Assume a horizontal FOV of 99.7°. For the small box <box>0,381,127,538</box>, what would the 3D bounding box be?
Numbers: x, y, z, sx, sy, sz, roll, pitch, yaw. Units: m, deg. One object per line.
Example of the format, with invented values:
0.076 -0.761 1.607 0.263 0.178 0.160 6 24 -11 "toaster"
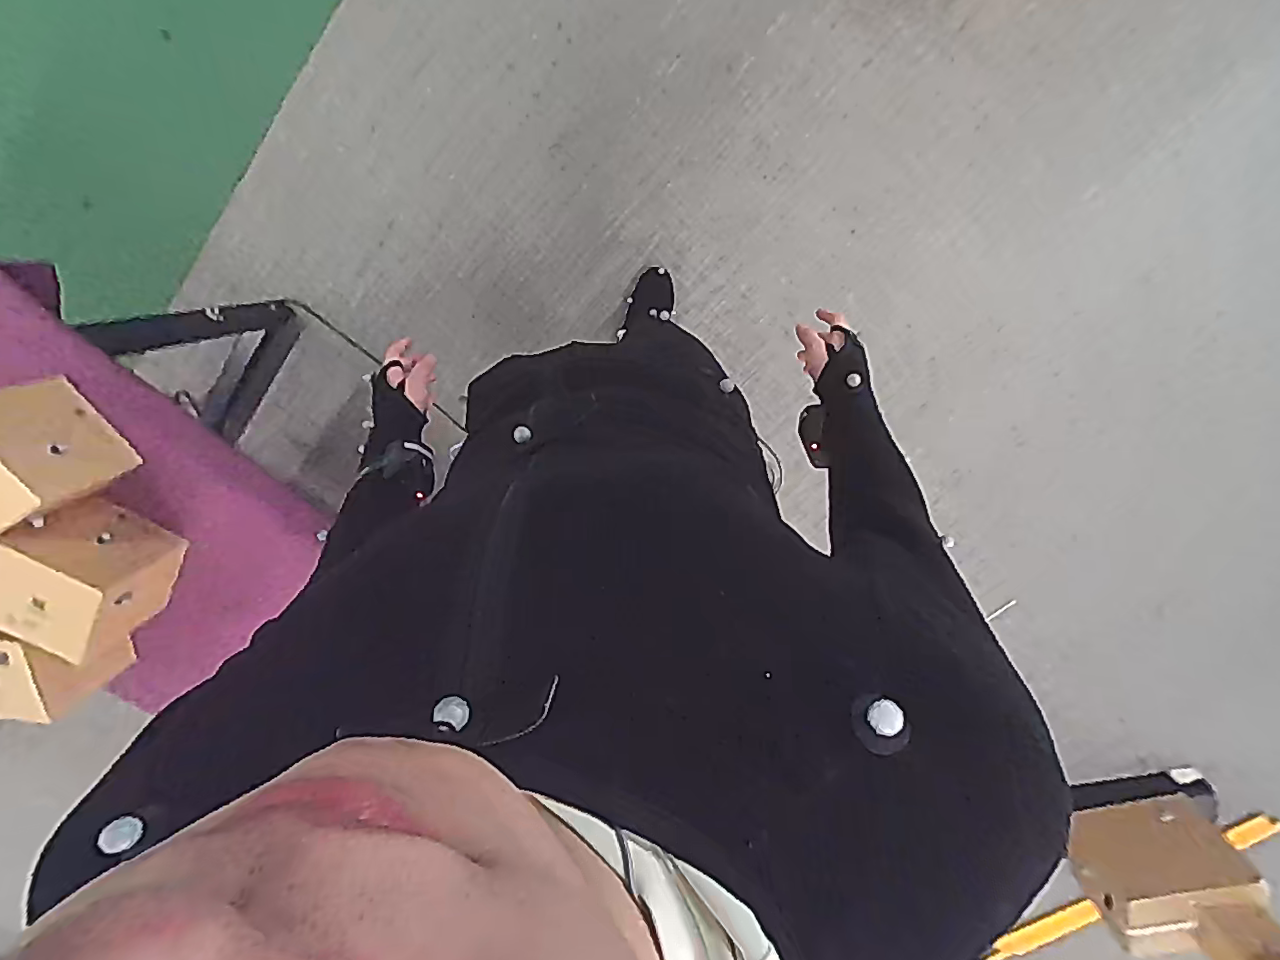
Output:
-0.952 -0.029 0.822 0.179 0.176 0.168 -26 111 14 "small box"
